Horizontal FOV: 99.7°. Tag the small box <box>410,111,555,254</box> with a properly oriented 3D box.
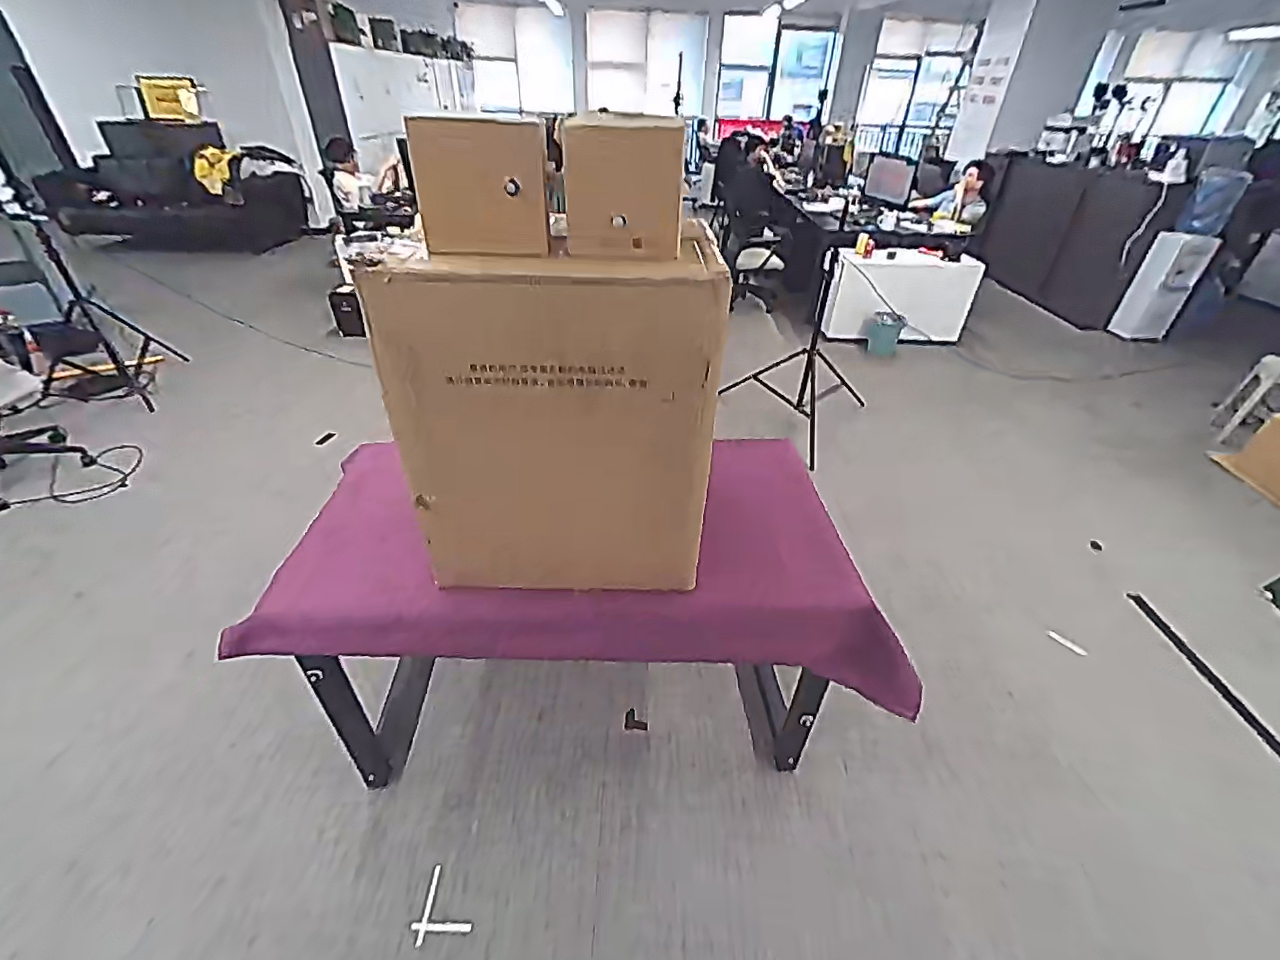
[{"bbox_3d":[-0.219,-0.442,0.805,0.179,0.176,0.168,-2,34,-6],"label":"small box"}]

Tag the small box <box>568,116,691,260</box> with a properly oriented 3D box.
[{"bbox_3d":[-0.011,-0.446,0.820,0.168,0.176,0.179,3,36,3],"label":"small box"}]
